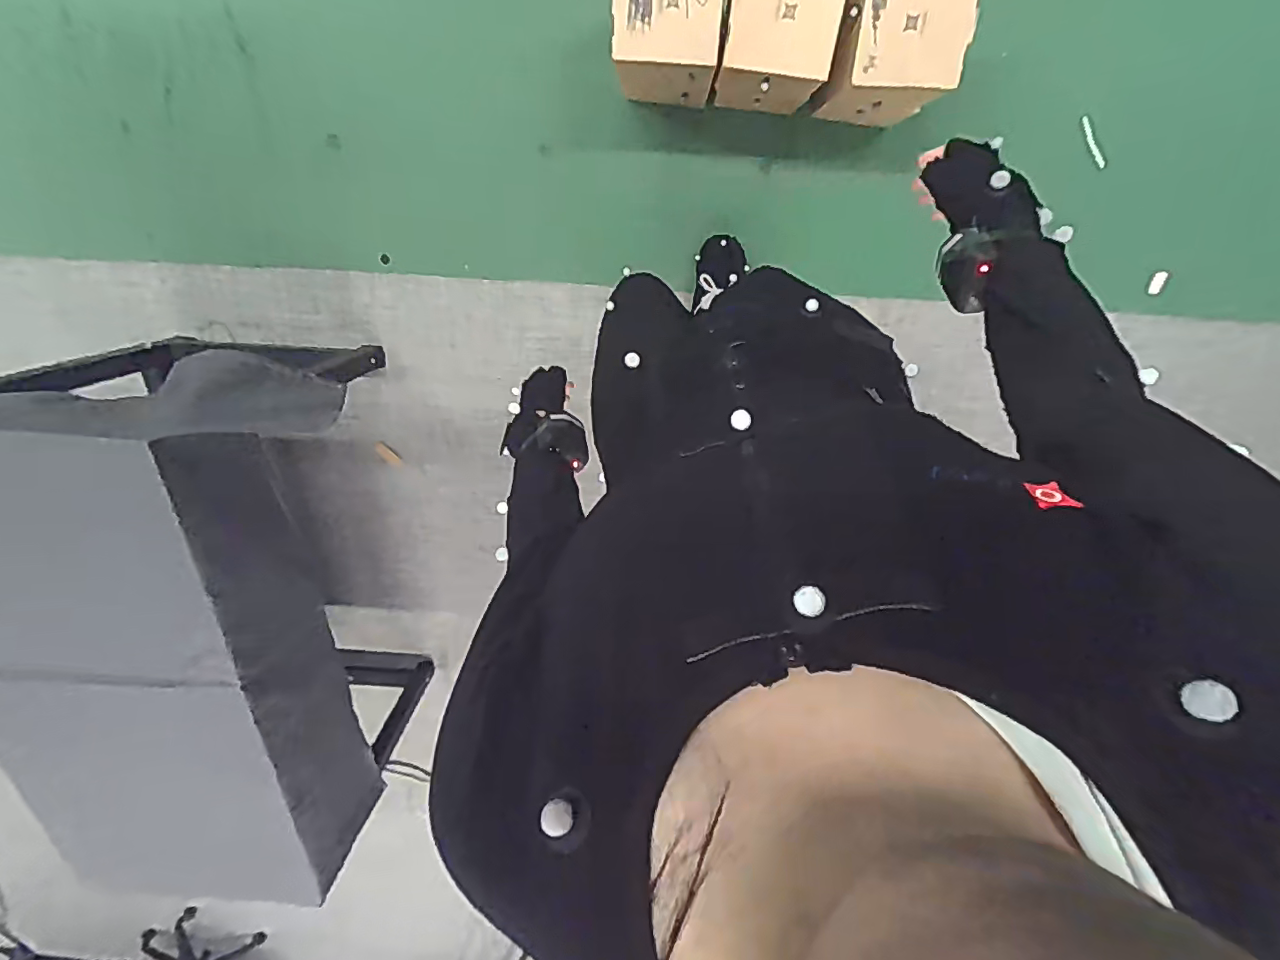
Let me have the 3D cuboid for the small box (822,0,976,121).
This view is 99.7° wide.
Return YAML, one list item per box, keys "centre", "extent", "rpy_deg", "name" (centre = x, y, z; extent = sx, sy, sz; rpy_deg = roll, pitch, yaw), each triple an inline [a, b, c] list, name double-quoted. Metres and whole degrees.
- centre: [0.435, -0.736, 0.934]
  extent: [0.179, 0.176, 0.168]
  rpy_deg: [4, 114, 1]
  name: "small box"
